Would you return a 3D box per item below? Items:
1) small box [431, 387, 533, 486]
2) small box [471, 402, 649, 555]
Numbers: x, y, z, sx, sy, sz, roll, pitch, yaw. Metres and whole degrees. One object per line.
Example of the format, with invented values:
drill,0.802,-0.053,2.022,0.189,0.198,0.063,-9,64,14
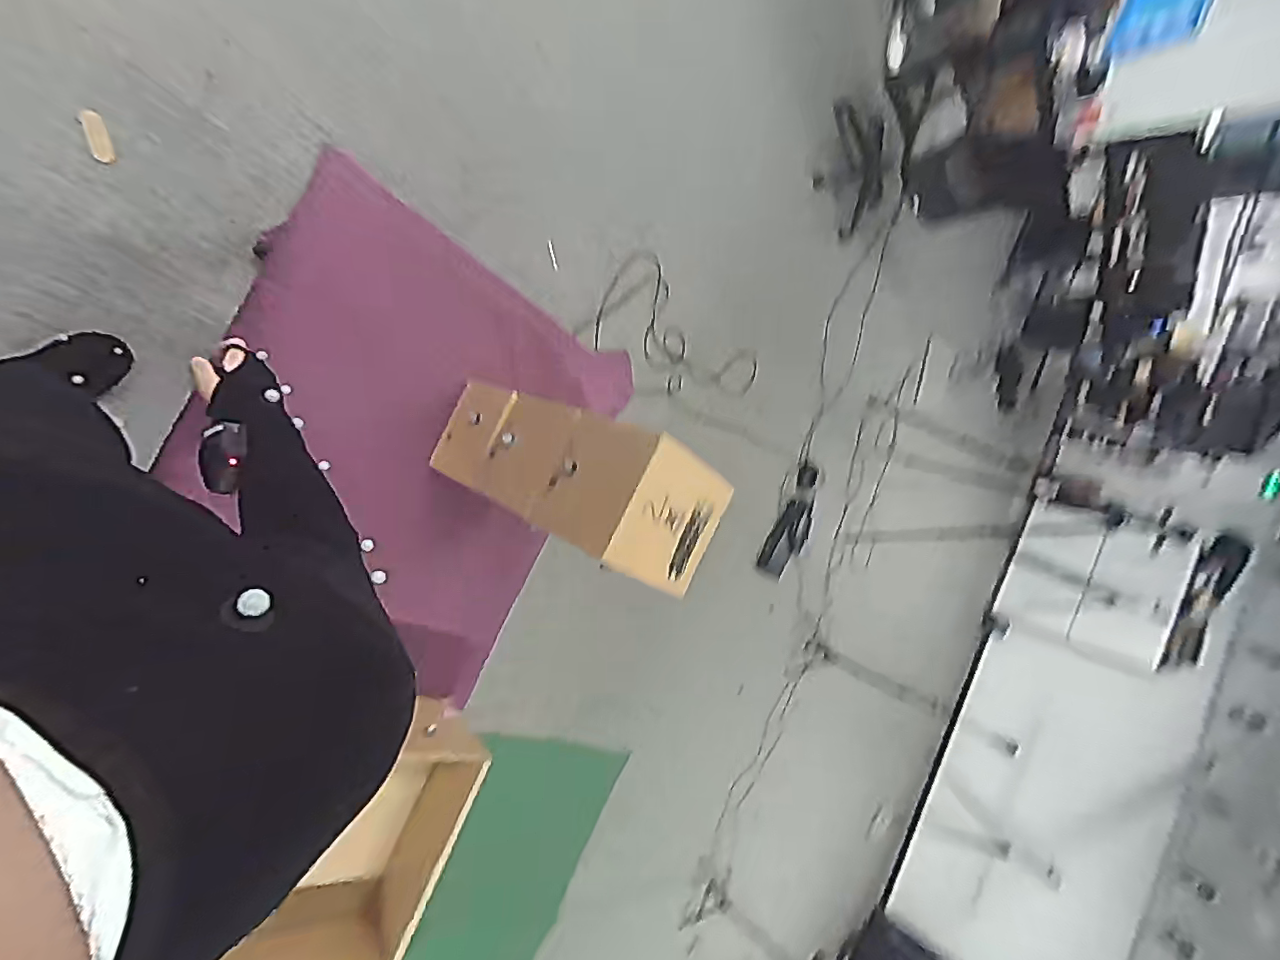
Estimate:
small box,-0.236,-0.053,0.958,0.179,0.176,0.168,30,82,-46
small box,-0.125,-0.007,0.845,0.179,0.176,0.168,36,78,-44
